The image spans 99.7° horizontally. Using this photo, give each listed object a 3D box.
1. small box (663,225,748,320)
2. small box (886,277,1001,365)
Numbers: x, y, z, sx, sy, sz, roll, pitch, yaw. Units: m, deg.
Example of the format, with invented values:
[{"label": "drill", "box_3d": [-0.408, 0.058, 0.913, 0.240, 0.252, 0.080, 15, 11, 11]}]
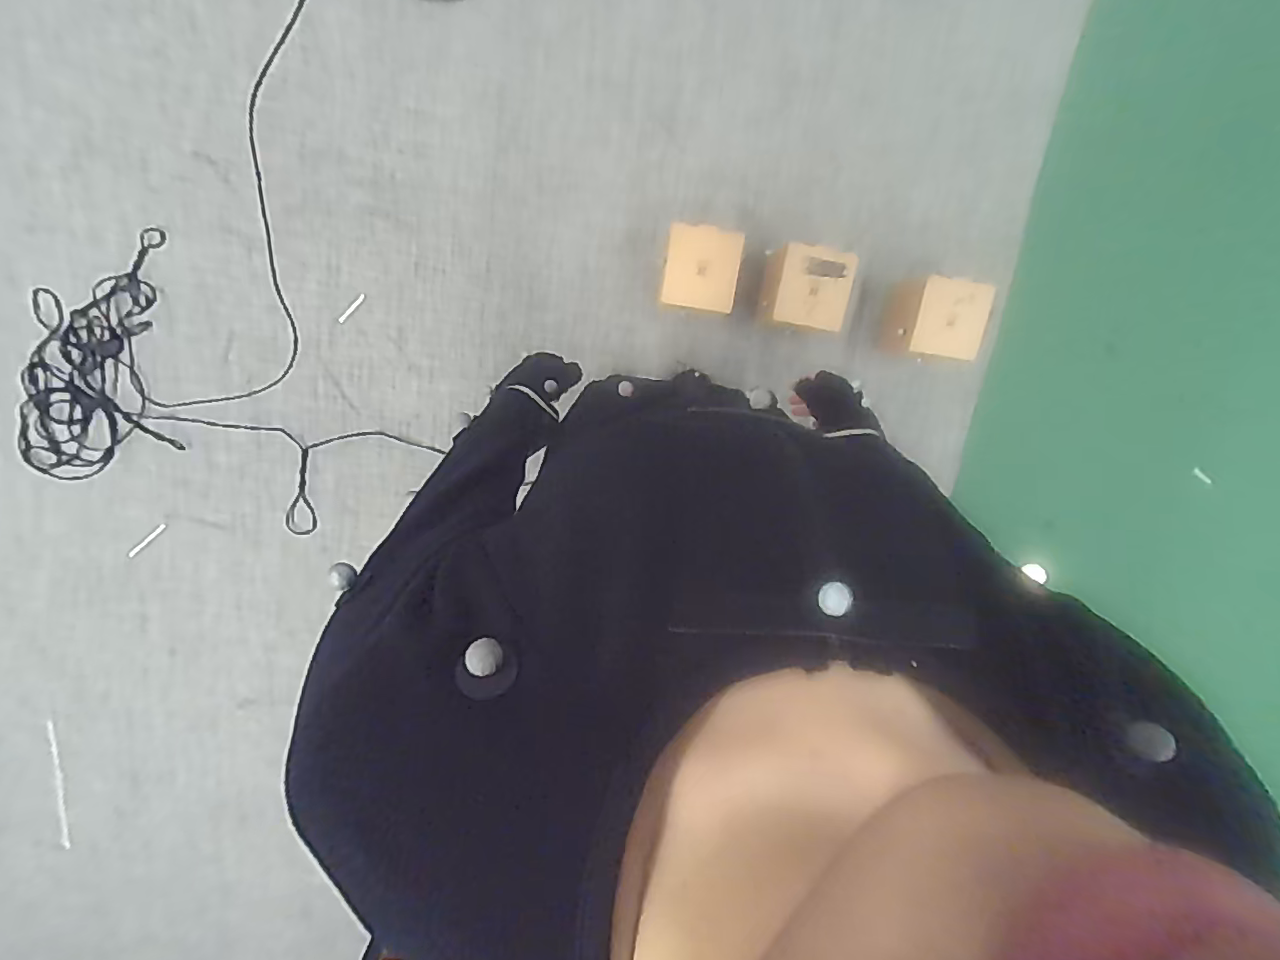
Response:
[{"label": "small box", "box_3d": [0.148, -0.485, 1.290, 0.168, 0.176, 0.179, 8, 102, -2]}, {"label": "small box", "box_3d": [0.728, -0.383, 1.322, 0.168, 0.176, 0.179, 8, 102, -3]}]
